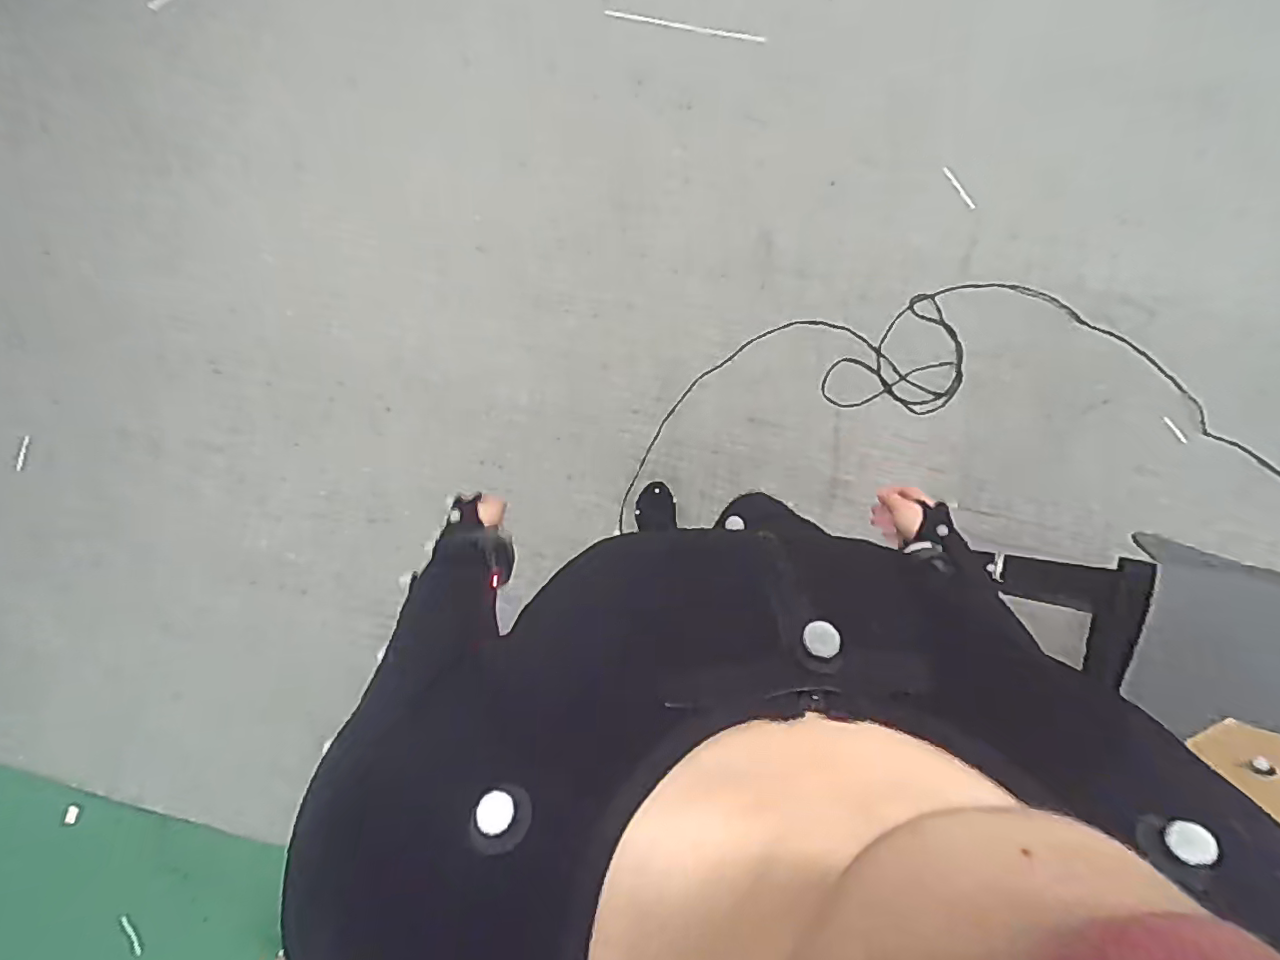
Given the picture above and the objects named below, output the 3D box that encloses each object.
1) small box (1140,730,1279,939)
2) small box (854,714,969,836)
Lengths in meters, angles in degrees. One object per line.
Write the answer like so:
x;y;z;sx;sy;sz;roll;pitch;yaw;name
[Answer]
0.767;0.426;0.639;0.168;0.176;0.179;-30;86;0;small box
0.665;0.727;1.353;0.168;0.176;0.179;33;87;2;small box
